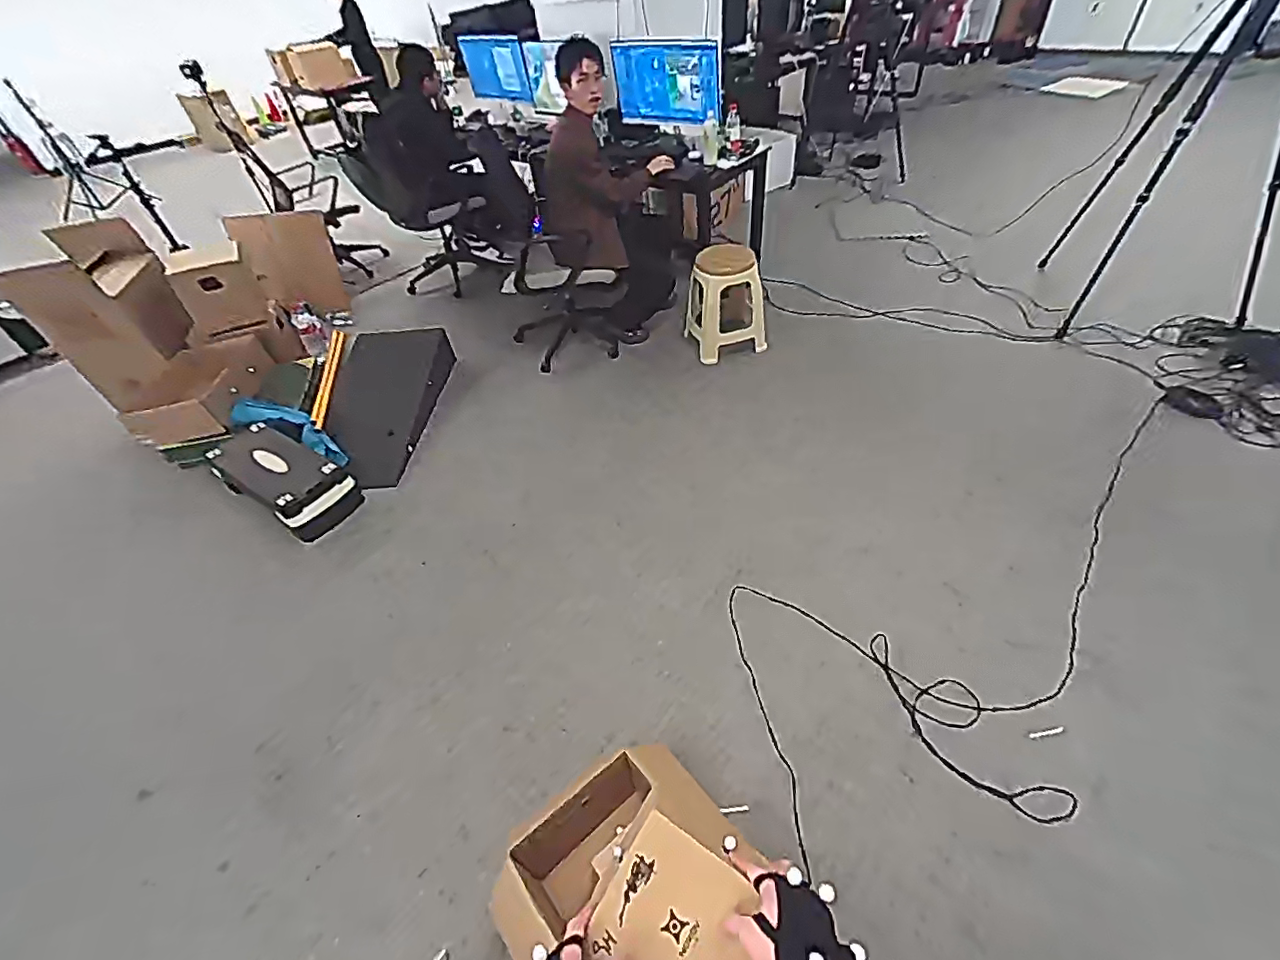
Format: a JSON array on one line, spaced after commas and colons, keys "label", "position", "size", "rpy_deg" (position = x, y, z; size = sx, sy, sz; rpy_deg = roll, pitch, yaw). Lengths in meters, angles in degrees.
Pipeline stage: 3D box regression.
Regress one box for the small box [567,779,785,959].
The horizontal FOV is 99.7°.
[{"label": "small box", "position": [0.044, 0.491, 0.643], "size": [0.179, 0.176, 0.168], "rpy_deg": [32, 77, 14]}]
